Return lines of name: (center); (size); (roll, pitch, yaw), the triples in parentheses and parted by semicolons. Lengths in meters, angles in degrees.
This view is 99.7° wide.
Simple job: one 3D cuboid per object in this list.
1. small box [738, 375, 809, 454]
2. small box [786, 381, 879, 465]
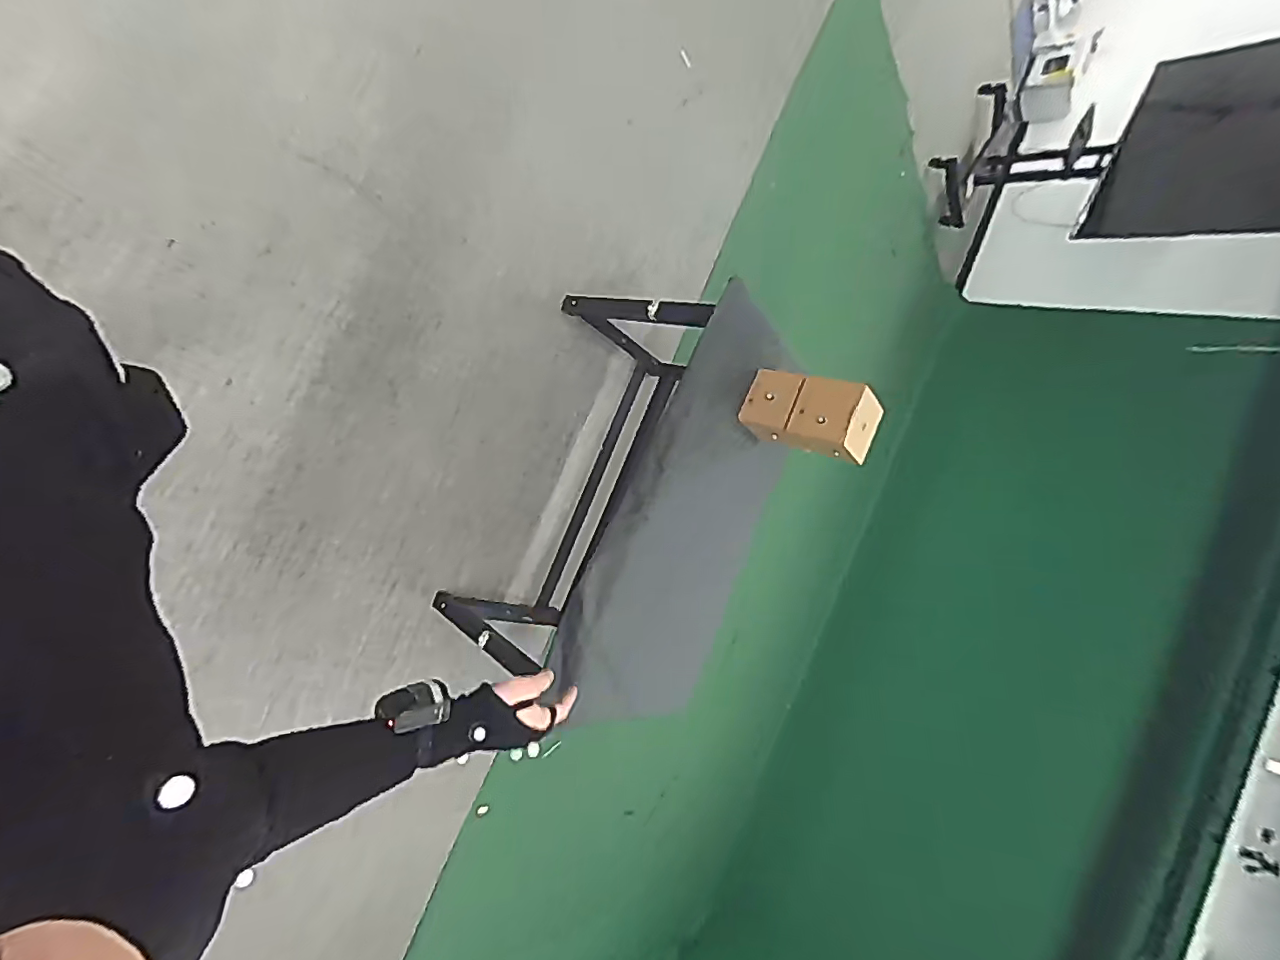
small box: (0.415, -0.198, 1.595); (0.179, 0.176, 0.168); (29, 83, -49)
small box: (0.523, -0.159, 1.479); (0.179, 0.176, 0.168); (26, 86, -50)
